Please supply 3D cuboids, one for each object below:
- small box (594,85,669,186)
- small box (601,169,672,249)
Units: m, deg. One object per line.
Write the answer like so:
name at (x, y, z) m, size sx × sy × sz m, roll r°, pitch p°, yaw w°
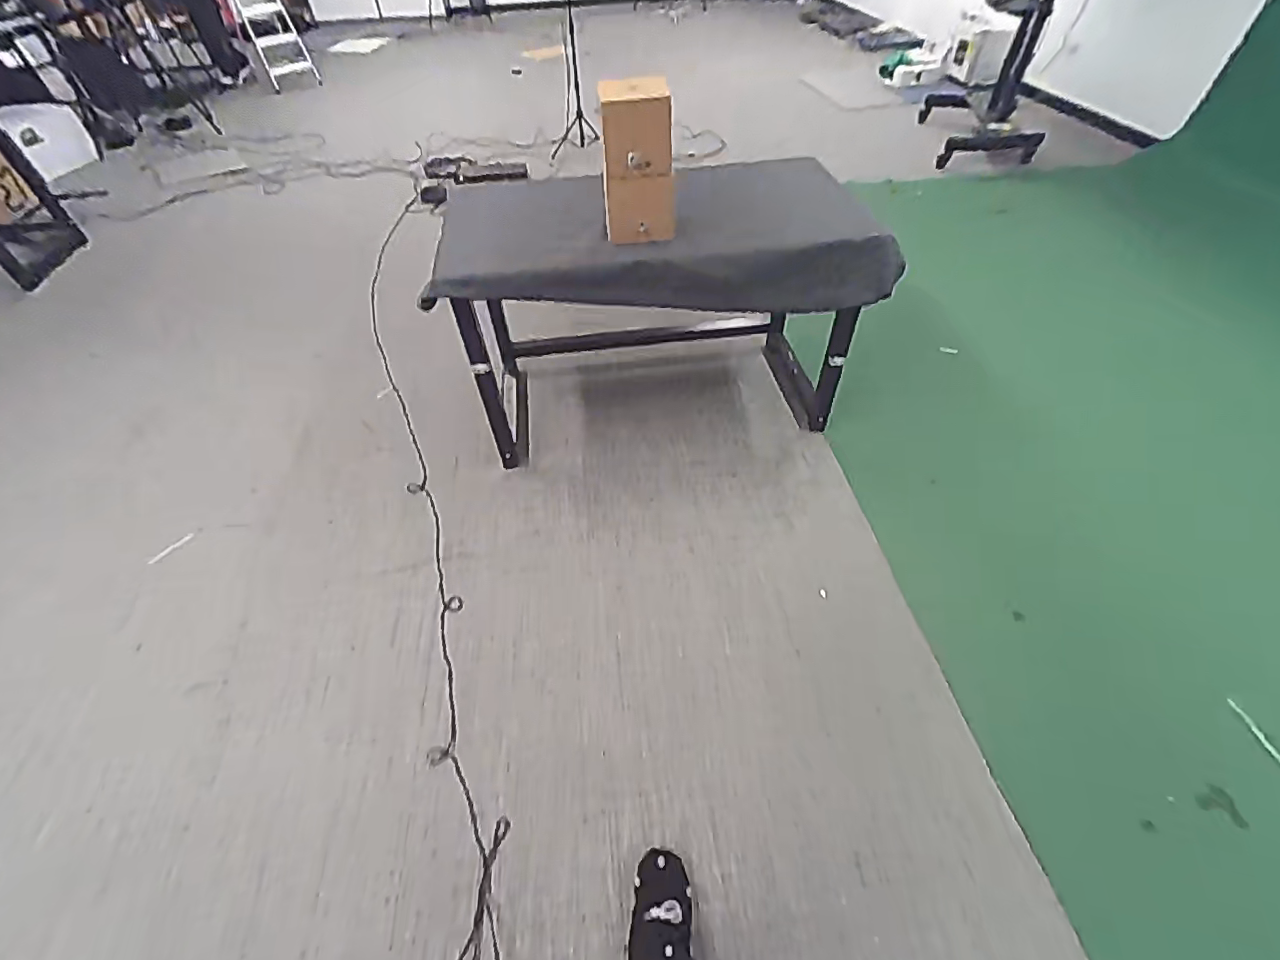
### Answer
small box at (-0.021, -0.853, 1.341) m, size 0.168 × 0.176 × 0.179 m, roll -8°, pitch 49°, yaw -3°
small box at (-0.012, -0.743, 1.460) m, size 0.179 × 0.176 × 0.168 m, roll -5°, pitch 48°, yaw -3°
